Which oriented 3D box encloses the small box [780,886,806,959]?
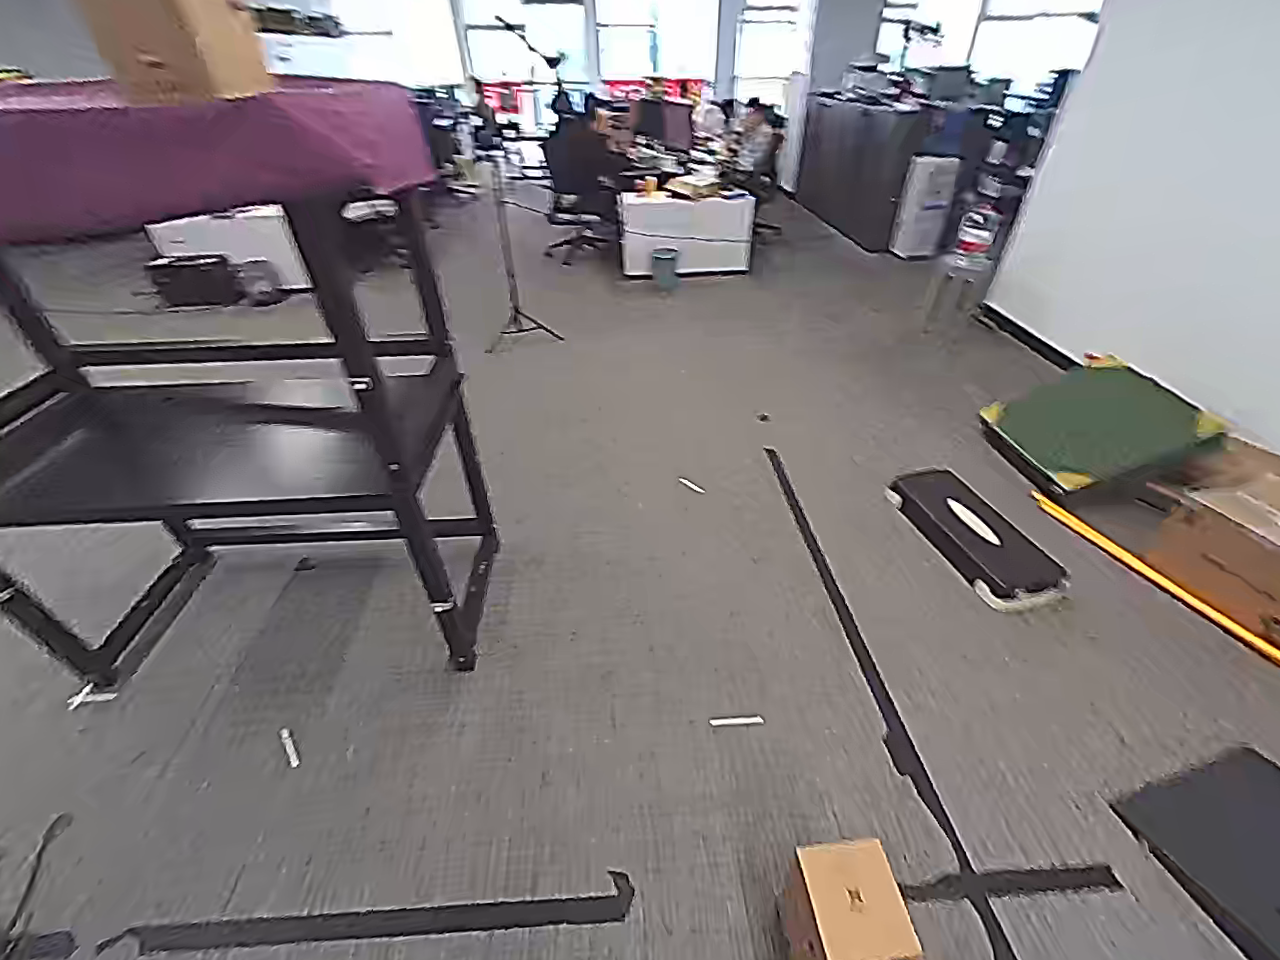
[{"bbox_3d":[0.393,0.939,1.095,0.168,0.176,0.179,-2,39,-2],"label":"small box"}]

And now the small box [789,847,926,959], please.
[{"bbox_3d":[0.387,0.810,0.994,0.168,0.176,0.179,-3,38,-3],"label":"small box"}]

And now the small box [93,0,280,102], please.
[{"bbox_3d":[-0.734,-0.727,0.884,0.168,0.176,0.179,-1,38,2],"label":"small box"}]
